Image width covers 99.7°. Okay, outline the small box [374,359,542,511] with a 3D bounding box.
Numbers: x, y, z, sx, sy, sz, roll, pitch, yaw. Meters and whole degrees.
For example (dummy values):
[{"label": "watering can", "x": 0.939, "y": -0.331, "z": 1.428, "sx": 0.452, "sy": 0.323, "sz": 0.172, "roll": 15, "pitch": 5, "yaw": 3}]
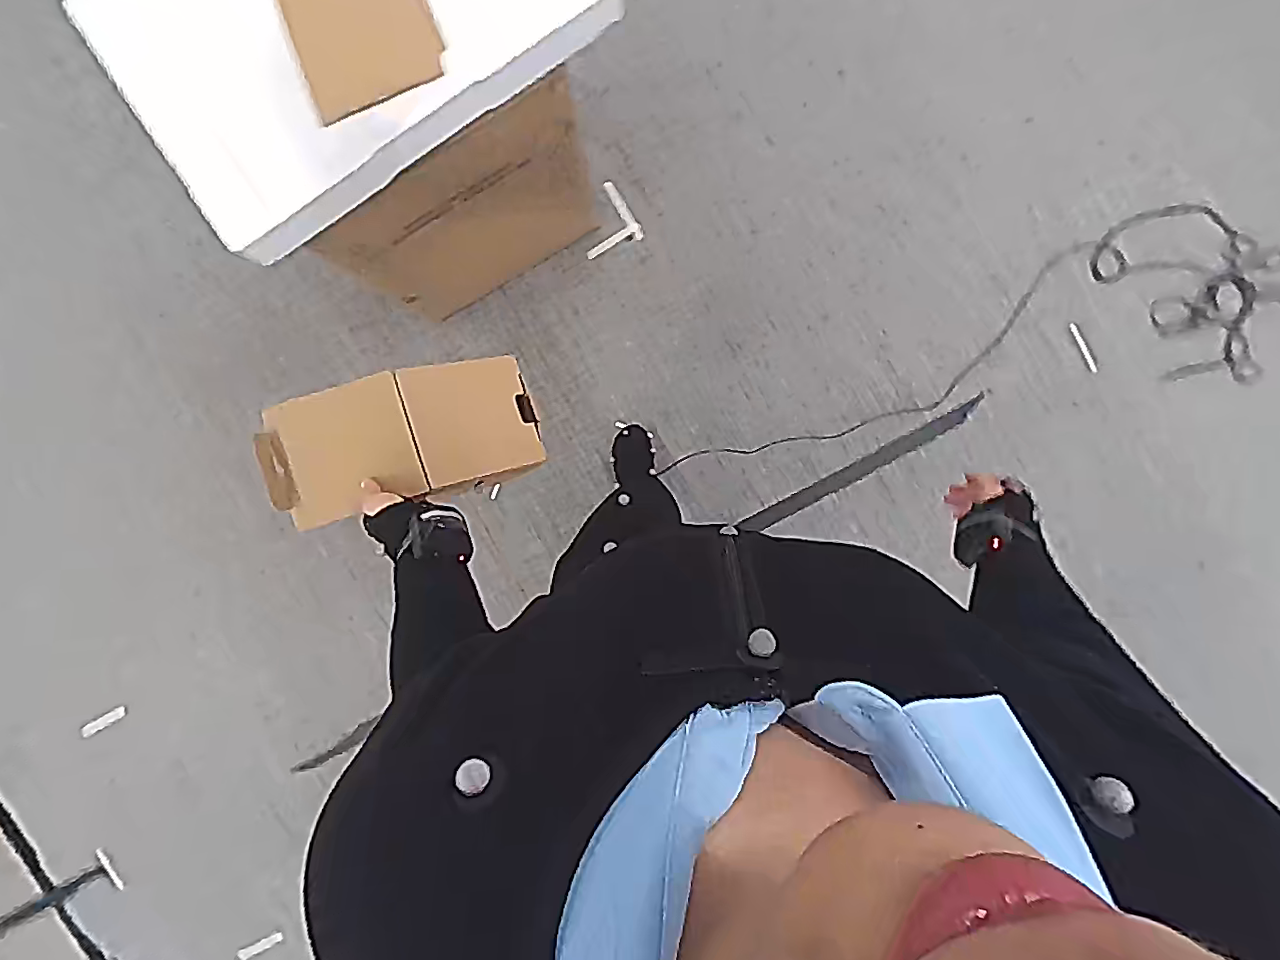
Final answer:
[{"label": "small box", "x": -0.276, "y": -0.061, "z": 0.796, "sx": 0.179, "sy": 0.176, "sz": 0.168, "roll": -18, "pitch": 89, "yaw": -36}]
